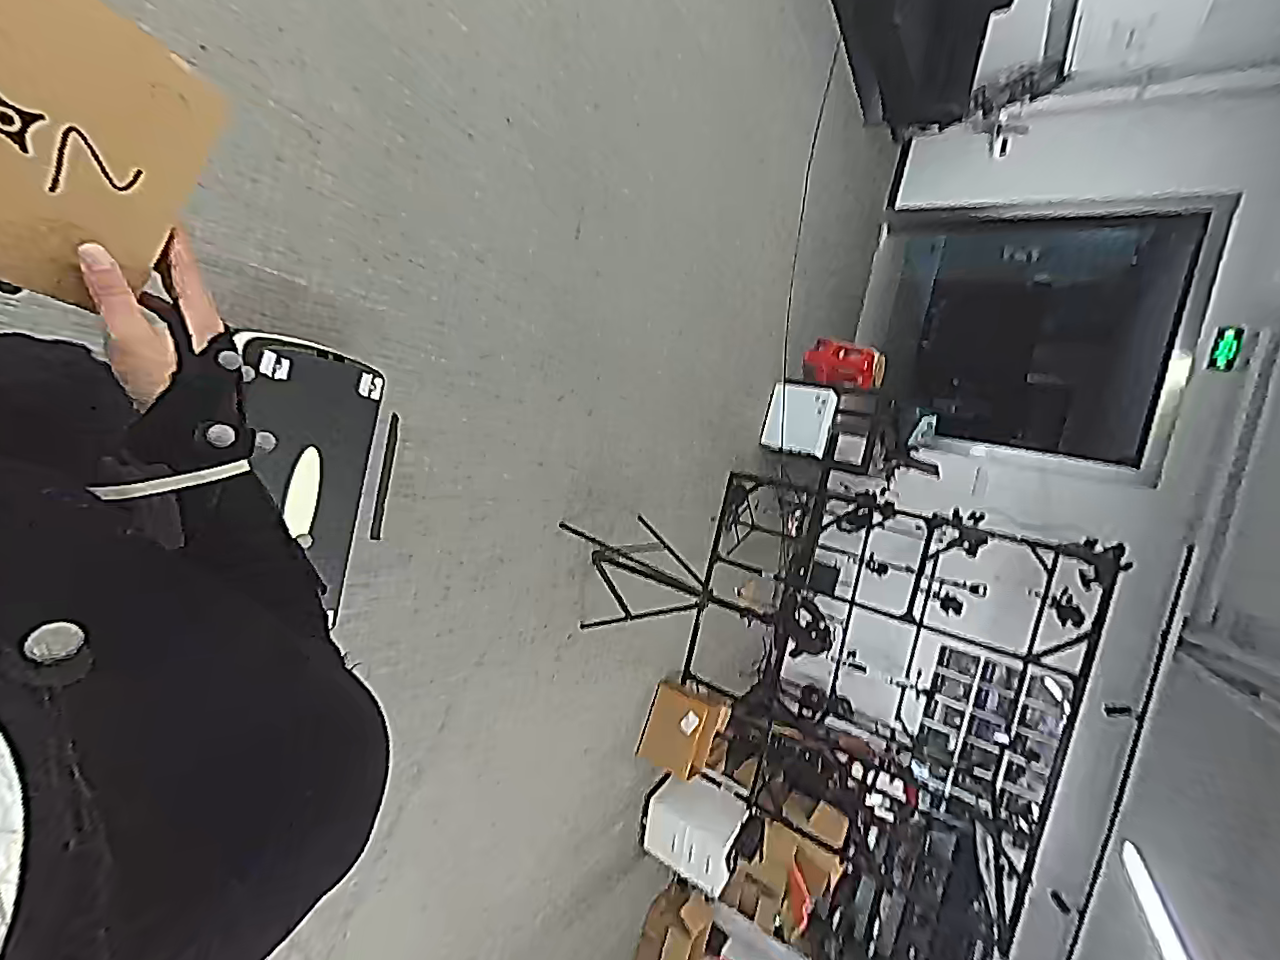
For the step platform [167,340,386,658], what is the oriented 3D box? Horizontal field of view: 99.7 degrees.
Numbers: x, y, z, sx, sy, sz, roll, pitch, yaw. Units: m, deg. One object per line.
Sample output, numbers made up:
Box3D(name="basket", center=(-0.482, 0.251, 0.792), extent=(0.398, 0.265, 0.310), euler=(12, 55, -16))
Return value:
Box3D(name="step platform", center=(-0.805, 0.046, 1.224), extent=(0.286, 0.204, 0.684), euler=(8, 95, -59))
